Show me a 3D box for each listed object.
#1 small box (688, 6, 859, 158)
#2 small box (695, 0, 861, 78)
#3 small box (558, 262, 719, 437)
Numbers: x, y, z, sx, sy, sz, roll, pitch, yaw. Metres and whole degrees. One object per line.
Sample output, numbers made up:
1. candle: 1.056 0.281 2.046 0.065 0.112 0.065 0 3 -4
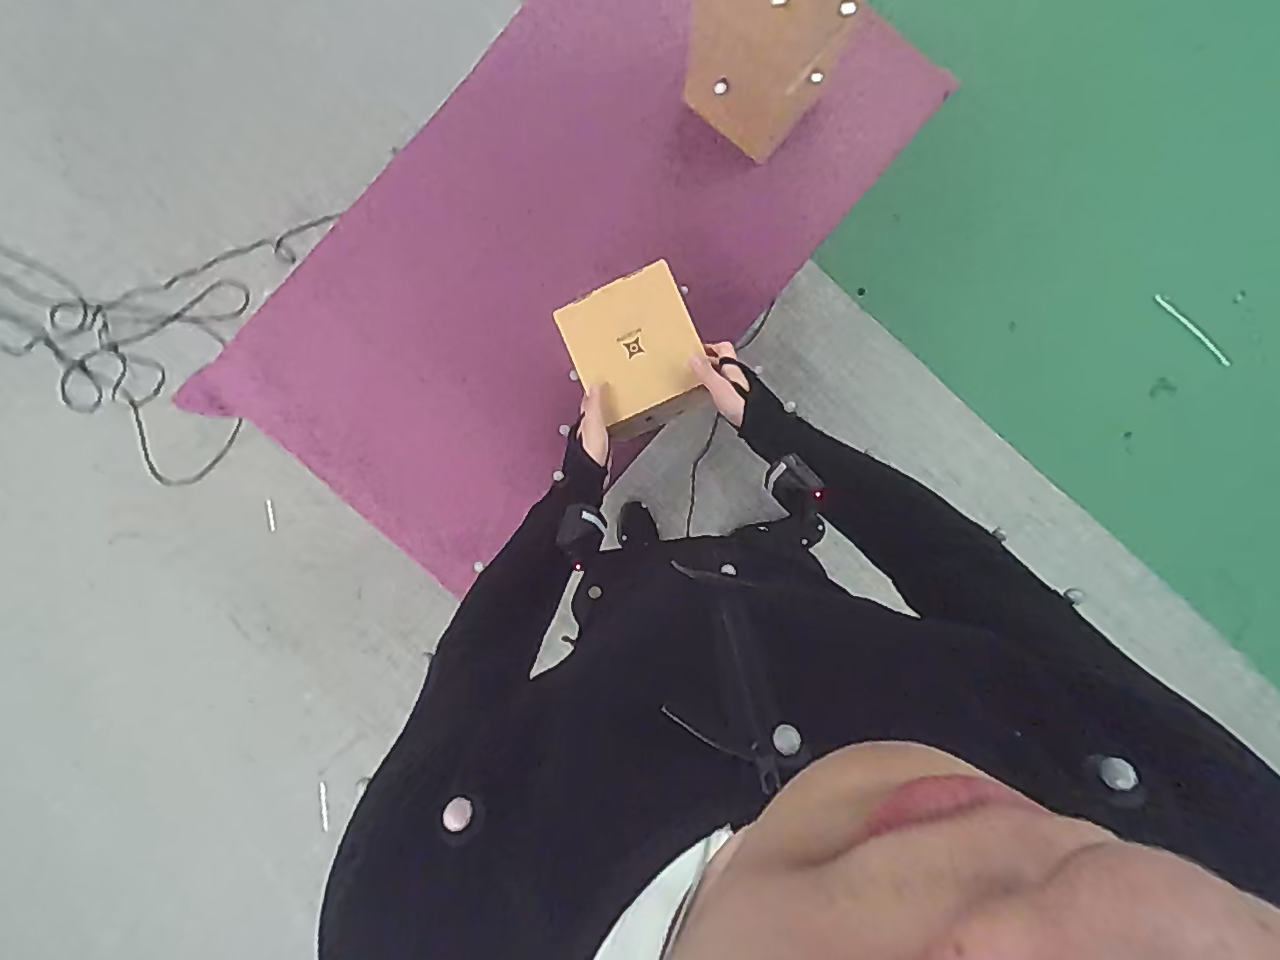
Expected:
1. small box: 0.189 -0.648 0.831 0.179 0.176 0.168 40 90 1
2. small box: 0.188 -0.651 0.666 0.179 0.176 0.168 42 89 0
3. small box: 0.009 -0.171 0.777 0.168 0.176 0.179 -23 84 7
